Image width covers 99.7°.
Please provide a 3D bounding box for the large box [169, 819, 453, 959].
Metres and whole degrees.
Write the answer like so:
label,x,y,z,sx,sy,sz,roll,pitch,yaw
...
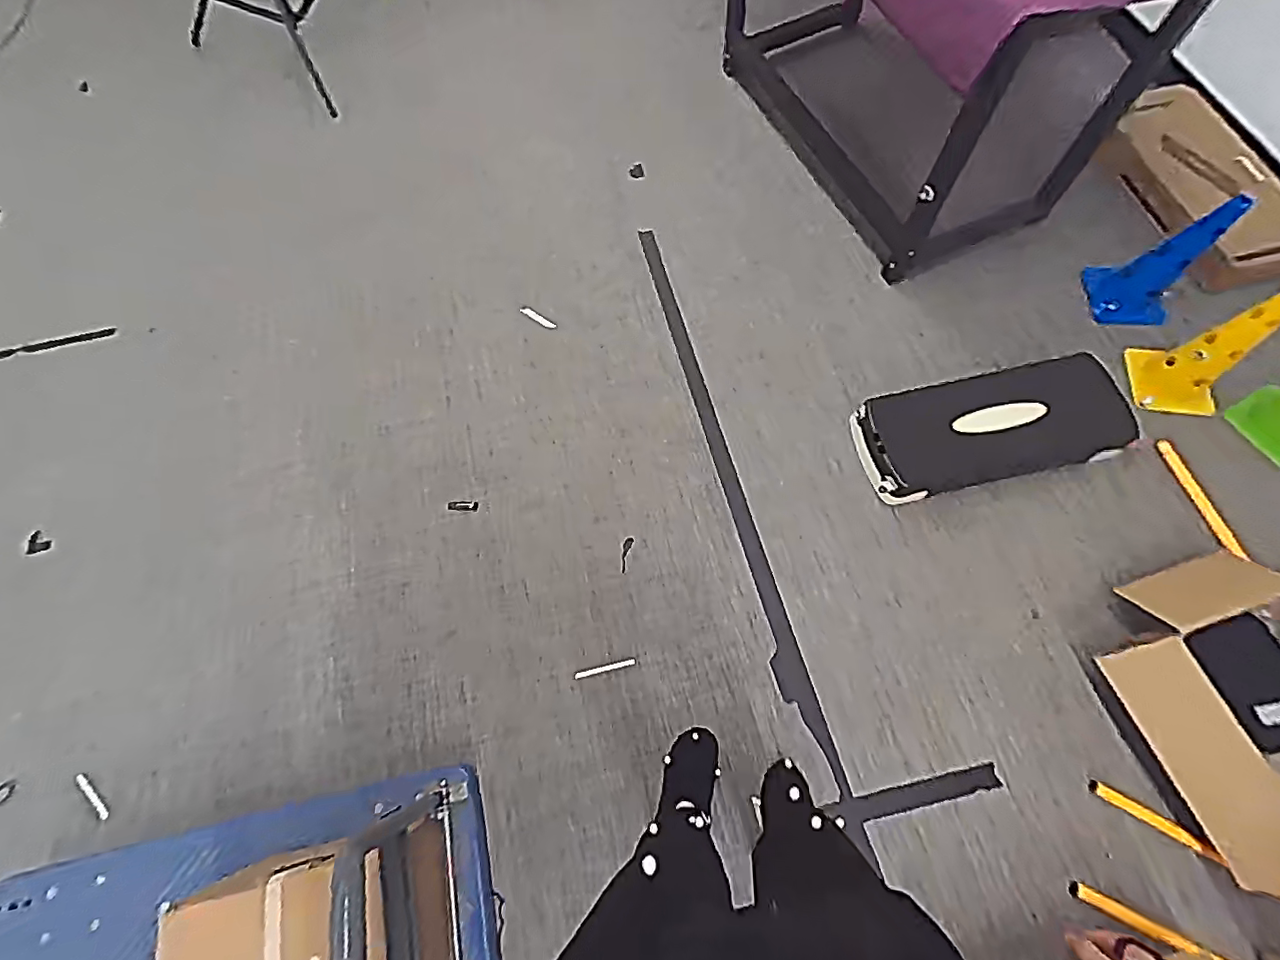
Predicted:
label,x,y,z,sx,sy,sz,roll,pitch,yaw
large box,-0.495,0.834,0.871,0.320,0.320,0.408,-10,67,-10
